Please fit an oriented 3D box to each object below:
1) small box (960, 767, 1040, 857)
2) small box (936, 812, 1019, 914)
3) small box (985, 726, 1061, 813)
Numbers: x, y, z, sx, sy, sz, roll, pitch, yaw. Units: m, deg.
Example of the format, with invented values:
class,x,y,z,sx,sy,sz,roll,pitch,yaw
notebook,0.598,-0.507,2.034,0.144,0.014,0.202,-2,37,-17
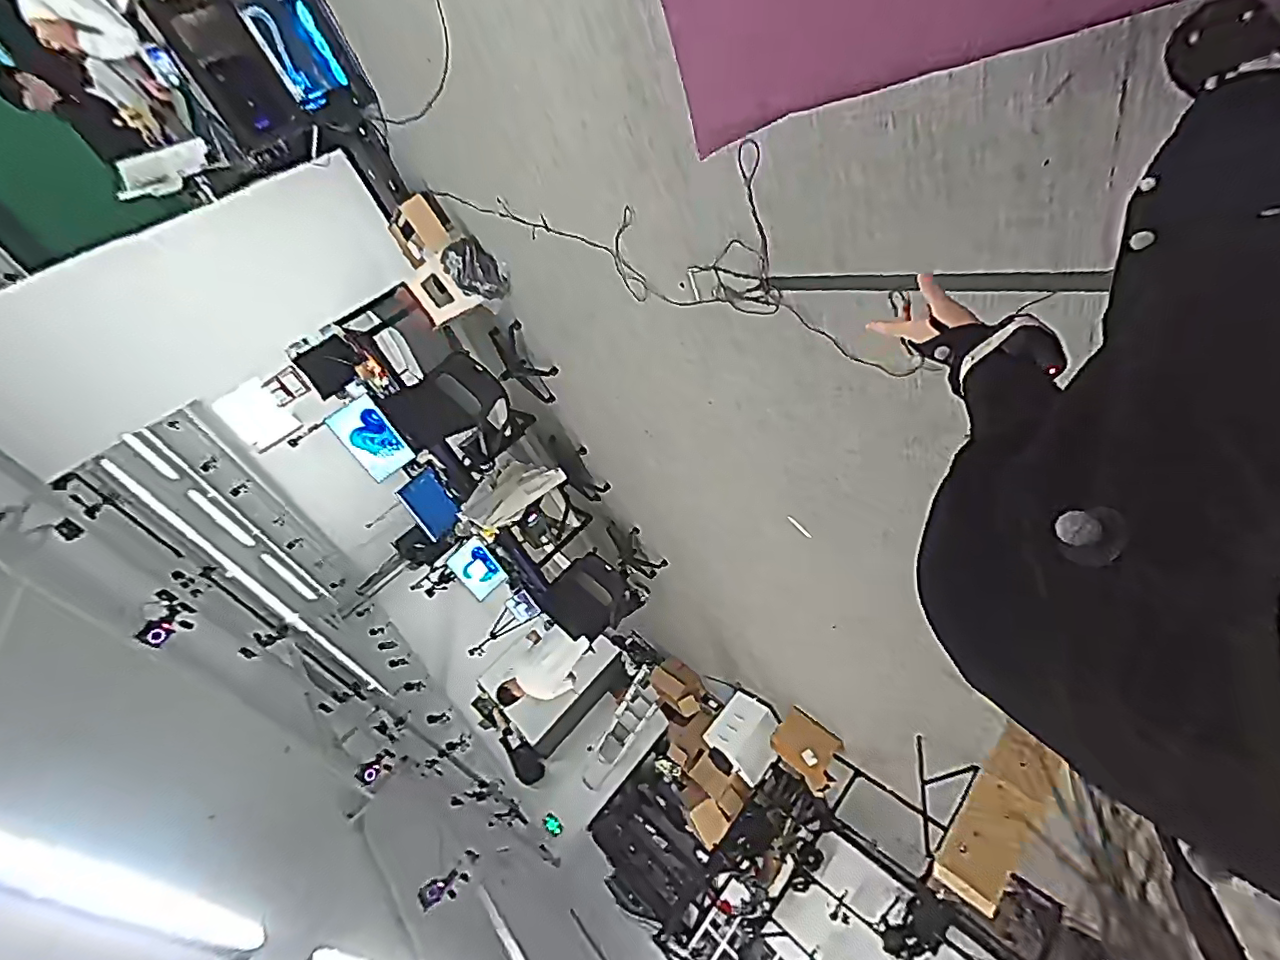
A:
class,x,y,z,sx,sy,sz,roll,pitch,yaw
small box,1.120,1.039,1.689,0.168,0.176,0.179,23,148,43
small box,1.014,1.147,1.629,0.168,0.176,0.179,24,150,44
small box,1.232,0.938,1.752,0.168,0.176,0.179,25,149,41
